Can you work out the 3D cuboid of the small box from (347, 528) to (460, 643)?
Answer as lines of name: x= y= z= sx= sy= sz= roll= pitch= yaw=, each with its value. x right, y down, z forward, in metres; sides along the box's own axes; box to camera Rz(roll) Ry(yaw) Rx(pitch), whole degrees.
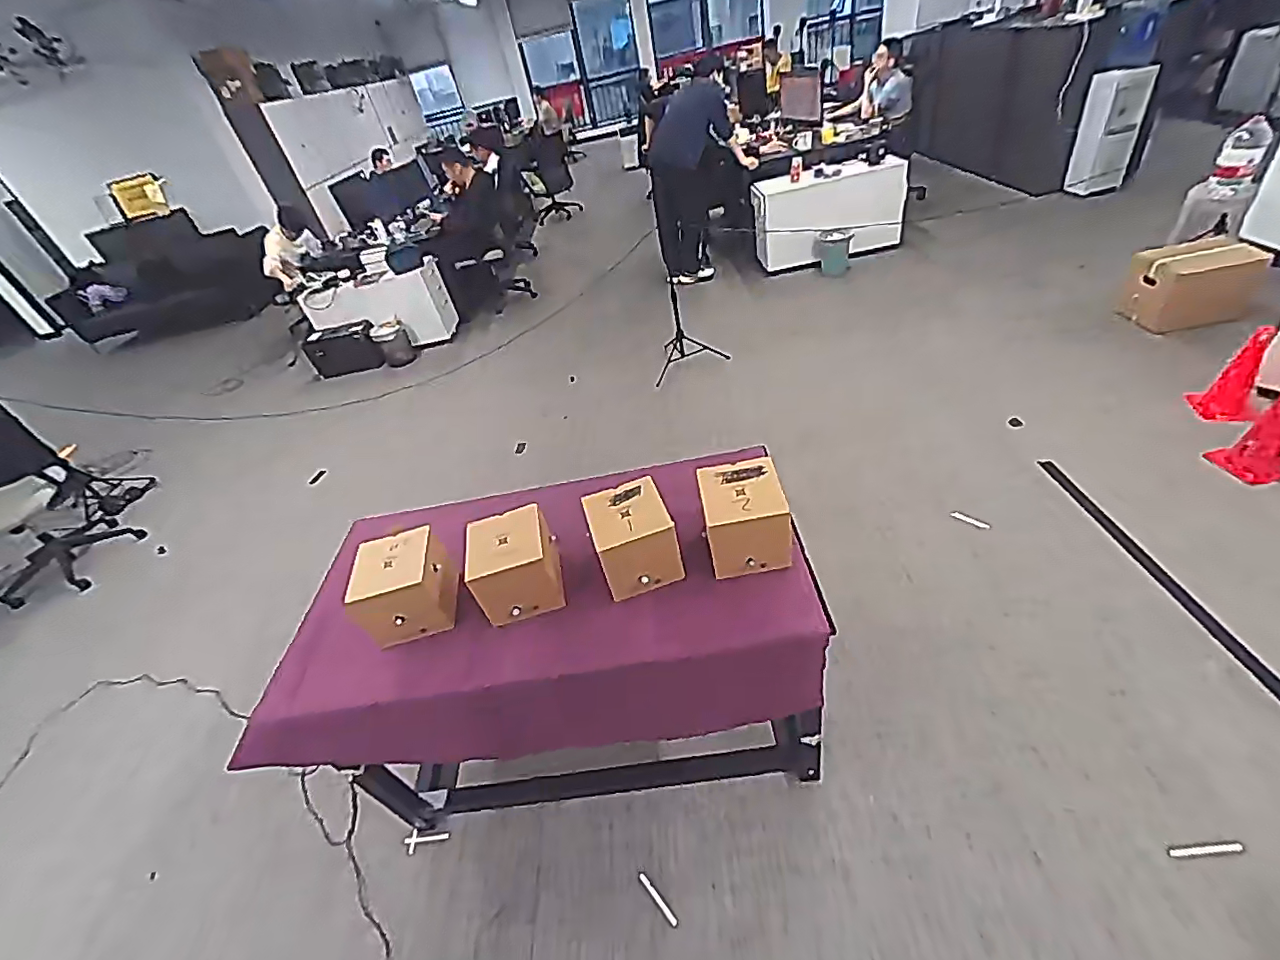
small box: x=-0.520 y=0.244 z=1.218 sx=0.168 sy=0.176 sz=0.179 roll=-15 pitch=39 yaw=-2

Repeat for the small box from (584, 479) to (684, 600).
small box: x=-0.013 y=0.132 z=1.194 sx=0.168 sy=0.176 sz=0.179 roll=-19 pitch=40 yaw=-5

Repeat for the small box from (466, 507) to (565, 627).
small box: x=-0.273 y=0.193 z=1.203 sx=0.168 sy=0.176 sz=0.179 roll=-17 pitch=39 yaw=-2
